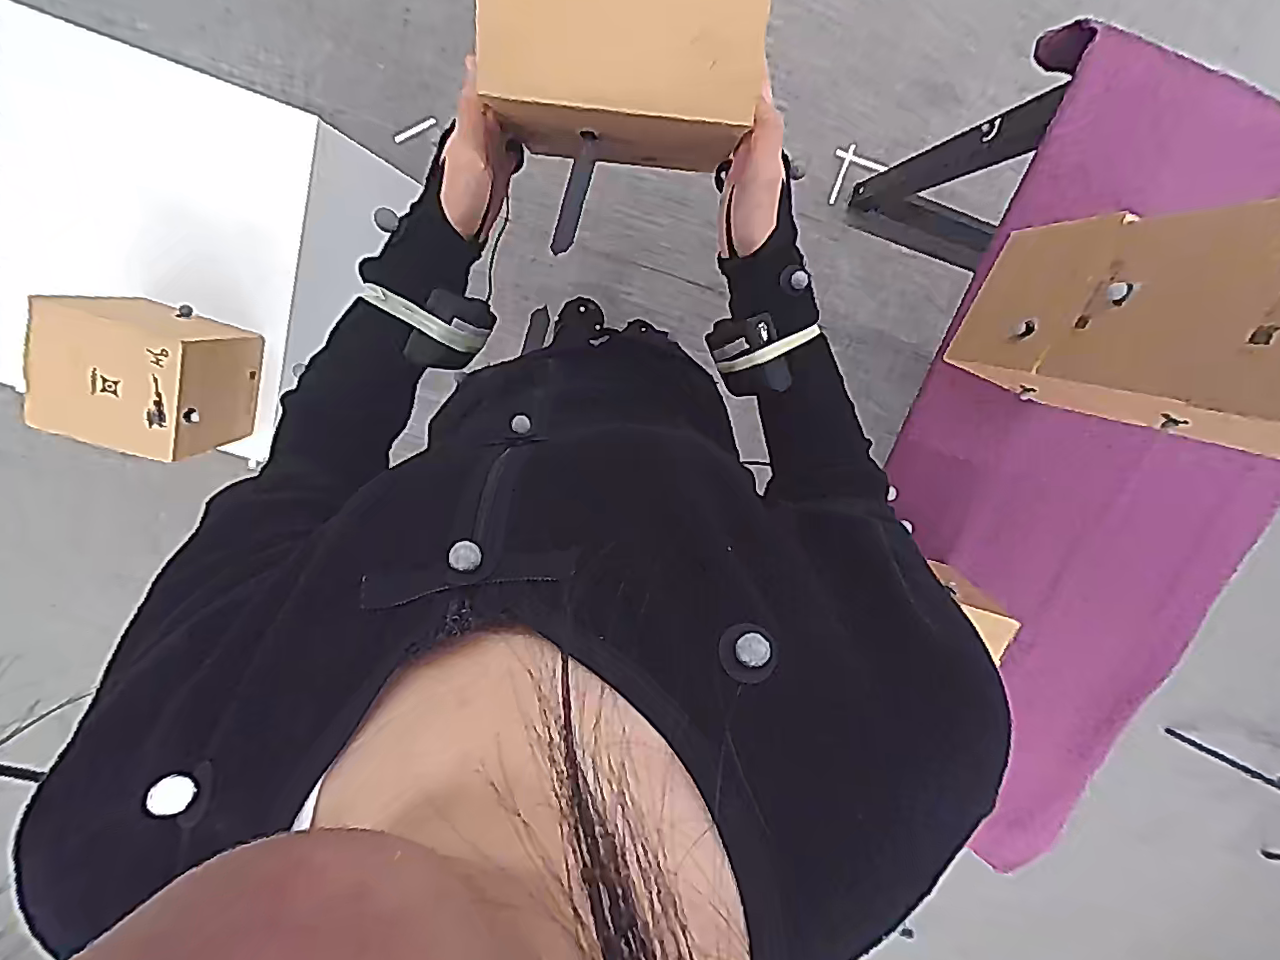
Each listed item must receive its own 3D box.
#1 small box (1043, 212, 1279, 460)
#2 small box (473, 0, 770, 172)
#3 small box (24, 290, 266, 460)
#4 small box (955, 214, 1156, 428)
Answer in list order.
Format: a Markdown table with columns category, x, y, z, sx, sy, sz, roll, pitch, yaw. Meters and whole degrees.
| category | x | y | z | sx | sy | sz | roll | pitch | yaw |
| --- | --- | --- | --- | --- | --- | --- | --- | --- | --- |
| small box | 0.540 | -0.130 | 0.497 | 0.179 | 0.176 | 0.168 | 20 | 106 | -8 |
| small box | -0.005 | -0.322 | 0.360 | 0.168 | 0.176 | 0.179 | 5 | 109 | -1 |
| small box | -0.662 | -0.146 | 0.740 | 0.179 | 0.176 | 0.168 | 17 | 105 | -8 |
| small box | 0.524 | -0.186 | 0.651 | 0.168 | 0.176 | 0.179 | 20 | 105 | -10 |
